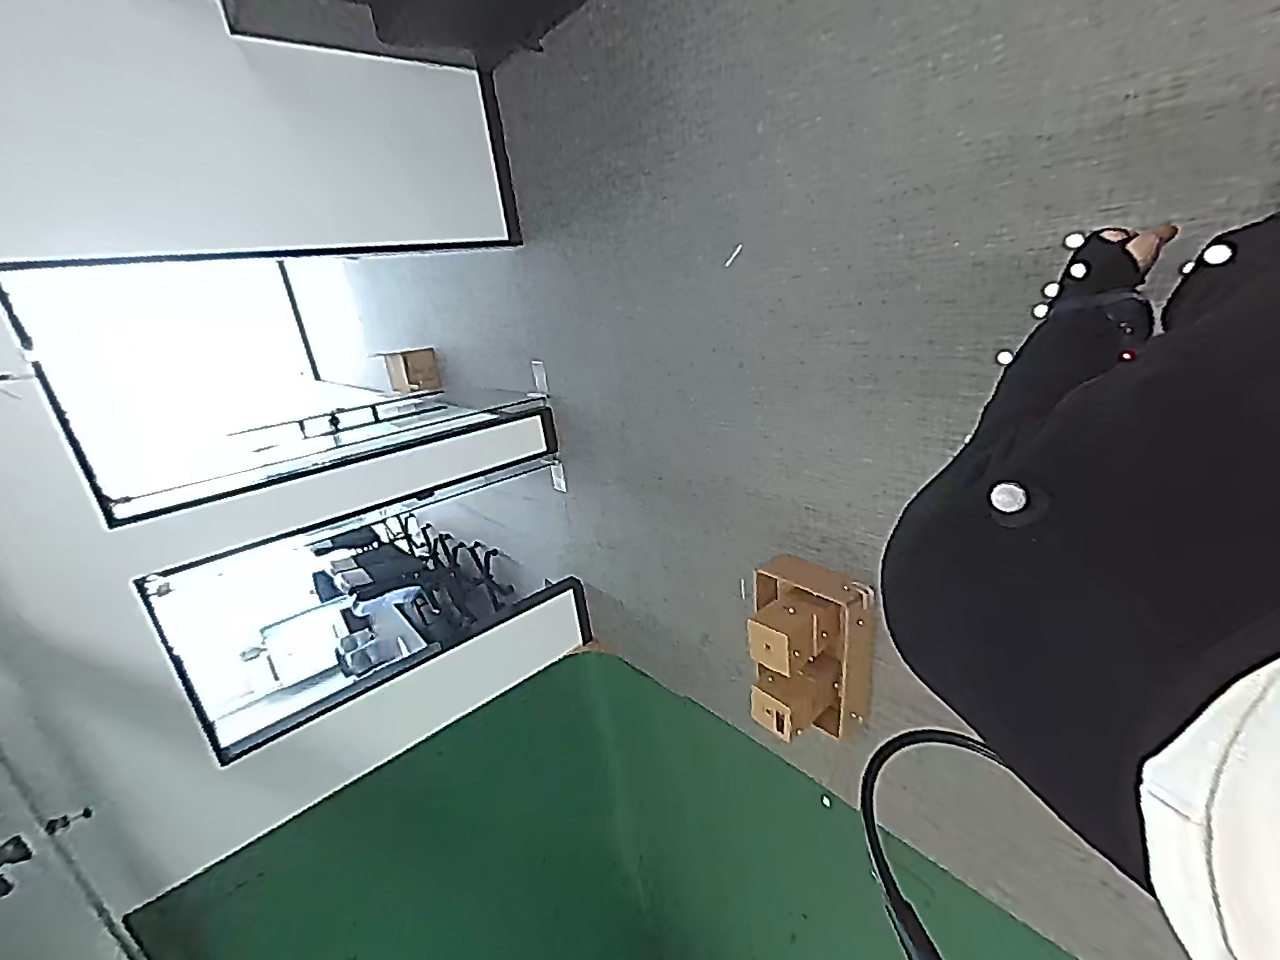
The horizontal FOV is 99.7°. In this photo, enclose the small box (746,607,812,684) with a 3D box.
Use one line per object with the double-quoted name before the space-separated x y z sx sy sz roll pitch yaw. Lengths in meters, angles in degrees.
"small box" 0.500 0.587 1.935 0.168 0.176 0.179 14 117 47
